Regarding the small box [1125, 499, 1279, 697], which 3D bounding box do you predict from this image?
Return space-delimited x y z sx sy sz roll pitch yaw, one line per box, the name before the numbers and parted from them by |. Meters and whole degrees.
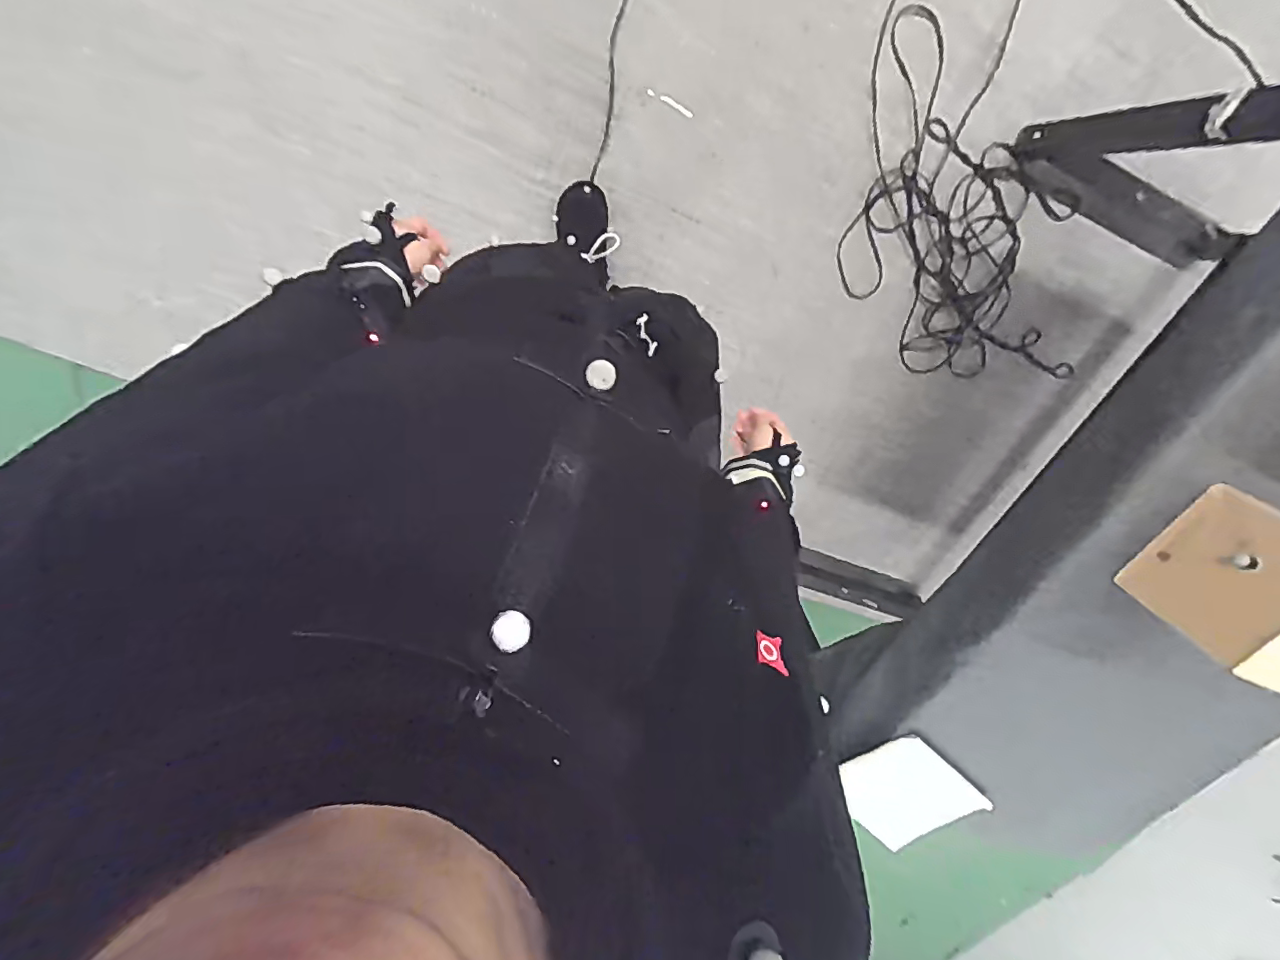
small box | 0.757 0.145 0.647 0.179 0.176 0.168 21 115 -14
